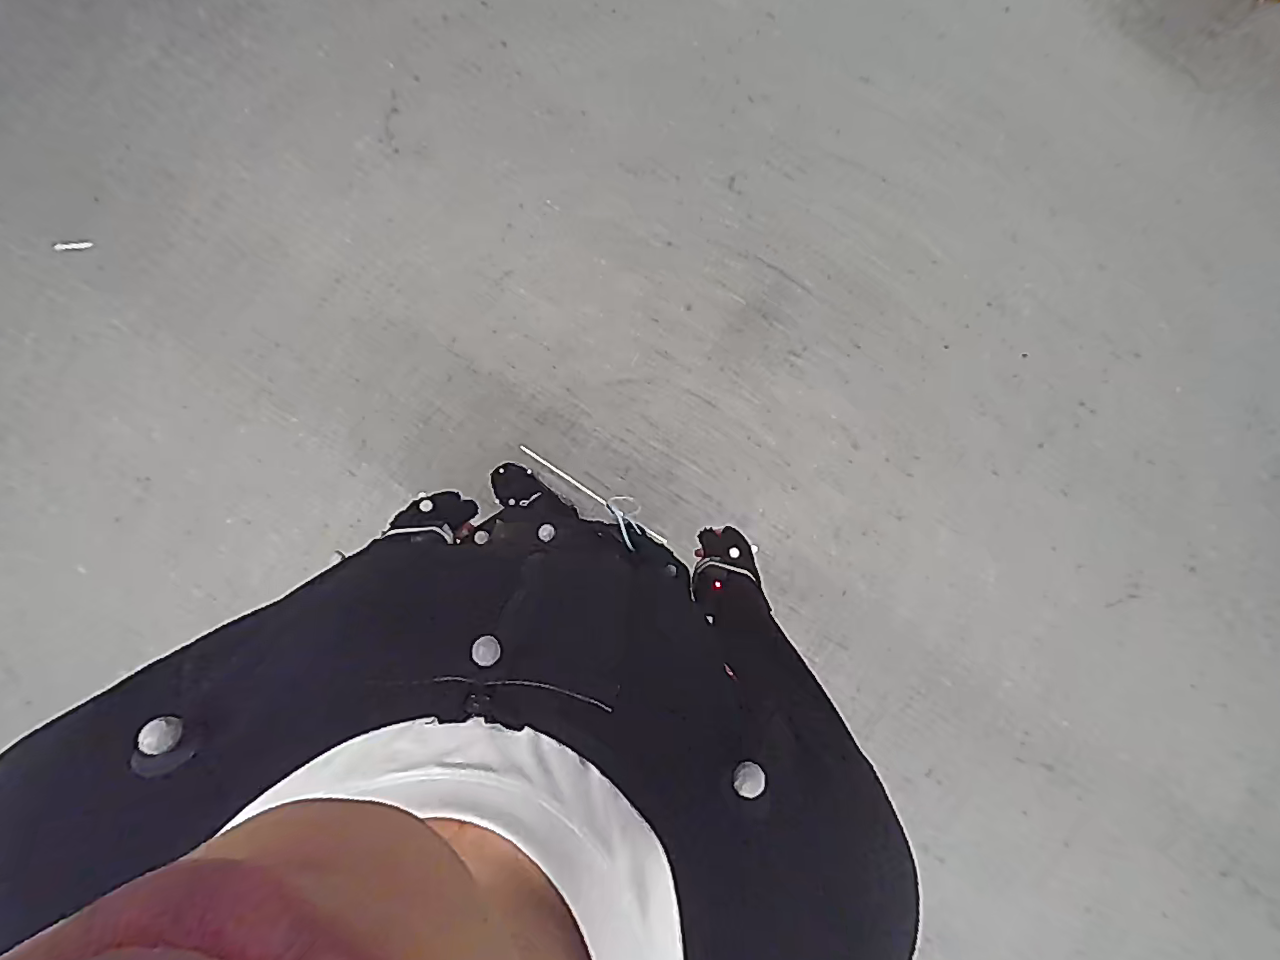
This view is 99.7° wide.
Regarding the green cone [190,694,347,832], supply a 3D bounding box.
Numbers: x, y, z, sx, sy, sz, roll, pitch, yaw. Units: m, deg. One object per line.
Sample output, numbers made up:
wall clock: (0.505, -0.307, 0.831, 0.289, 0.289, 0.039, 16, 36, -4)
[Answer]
green cone: (-0.905, 0.696, 1.270, 0.202, 0.368, 0.200, 33, 88, -2)
